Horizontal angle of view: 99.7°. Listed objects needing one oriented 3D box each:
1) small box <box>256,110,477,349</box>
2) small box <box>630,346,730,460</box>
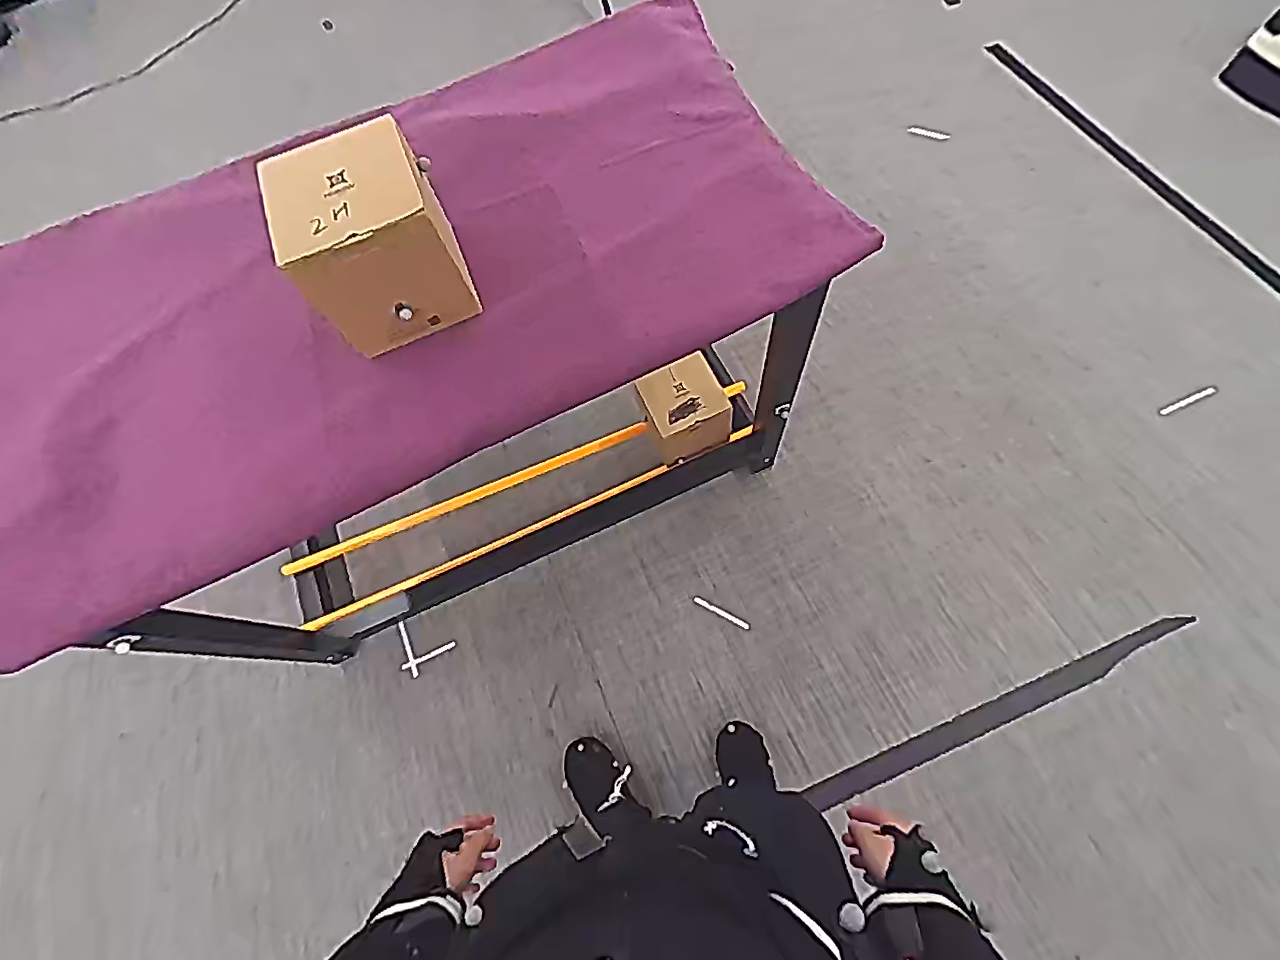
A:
[{"bbox_3d":[-0.323,-0.296,0.661,0.168,0.176,0.179,-23,68,-3],"label":"small box"},{"bbox_3d":[0.093,-0.163,1.229,0.168,0.176,0.179,-24,68,-3],"label":"small box"}]
